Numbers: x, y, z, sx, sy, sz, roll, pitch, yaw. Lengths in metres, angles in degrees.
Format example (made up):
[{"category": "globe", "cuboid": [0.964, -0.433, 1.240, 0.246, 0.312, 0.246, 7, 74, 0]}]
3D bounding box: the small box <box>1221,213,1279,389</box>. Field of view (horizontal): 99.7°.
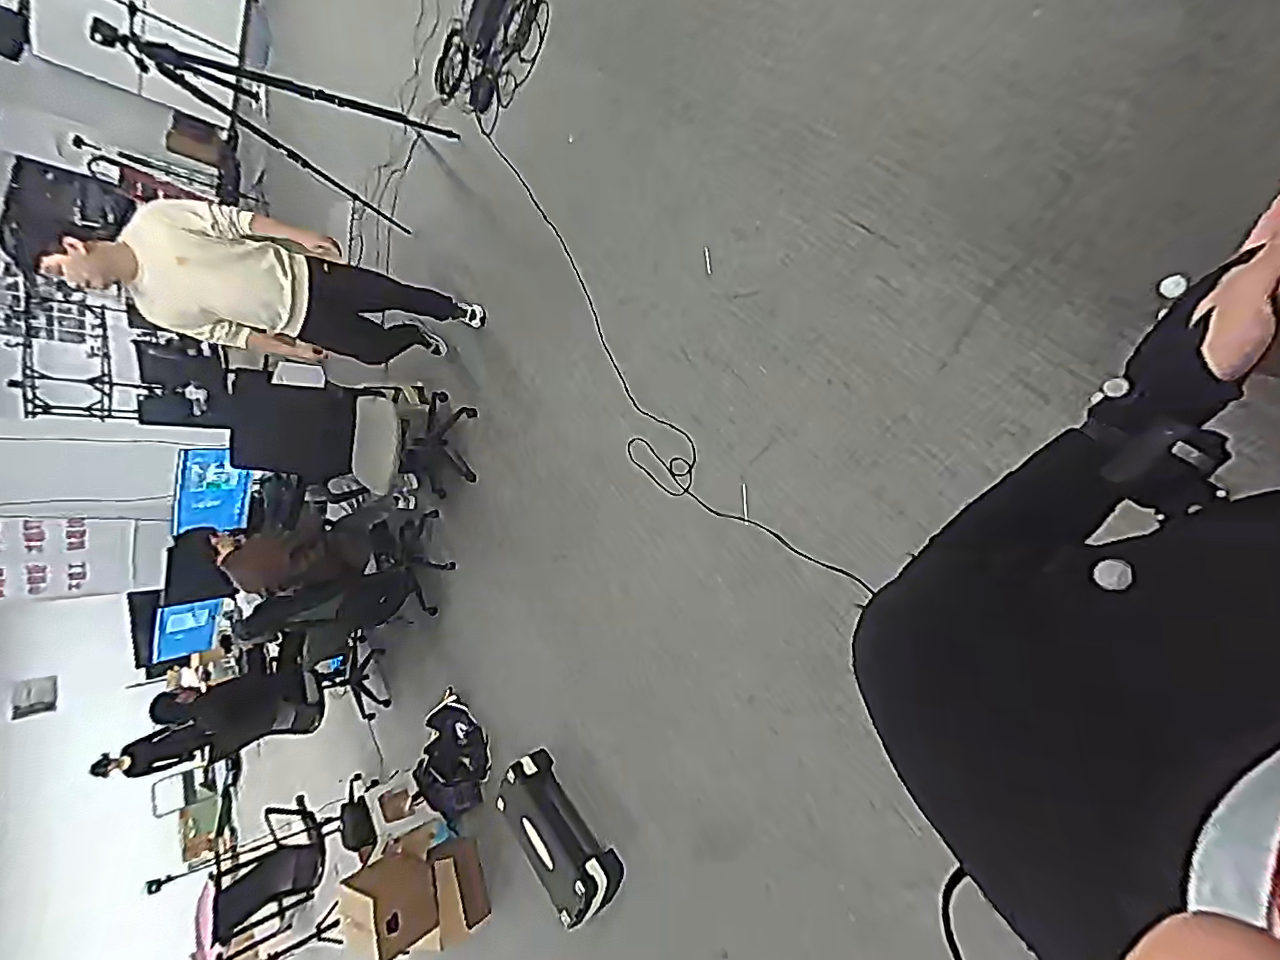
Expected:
[{"category": "small box", "cuboid": [0.530, -0.158, 0.348, 0.168, 0.176, 0.179, 23, 94, 39]}]
